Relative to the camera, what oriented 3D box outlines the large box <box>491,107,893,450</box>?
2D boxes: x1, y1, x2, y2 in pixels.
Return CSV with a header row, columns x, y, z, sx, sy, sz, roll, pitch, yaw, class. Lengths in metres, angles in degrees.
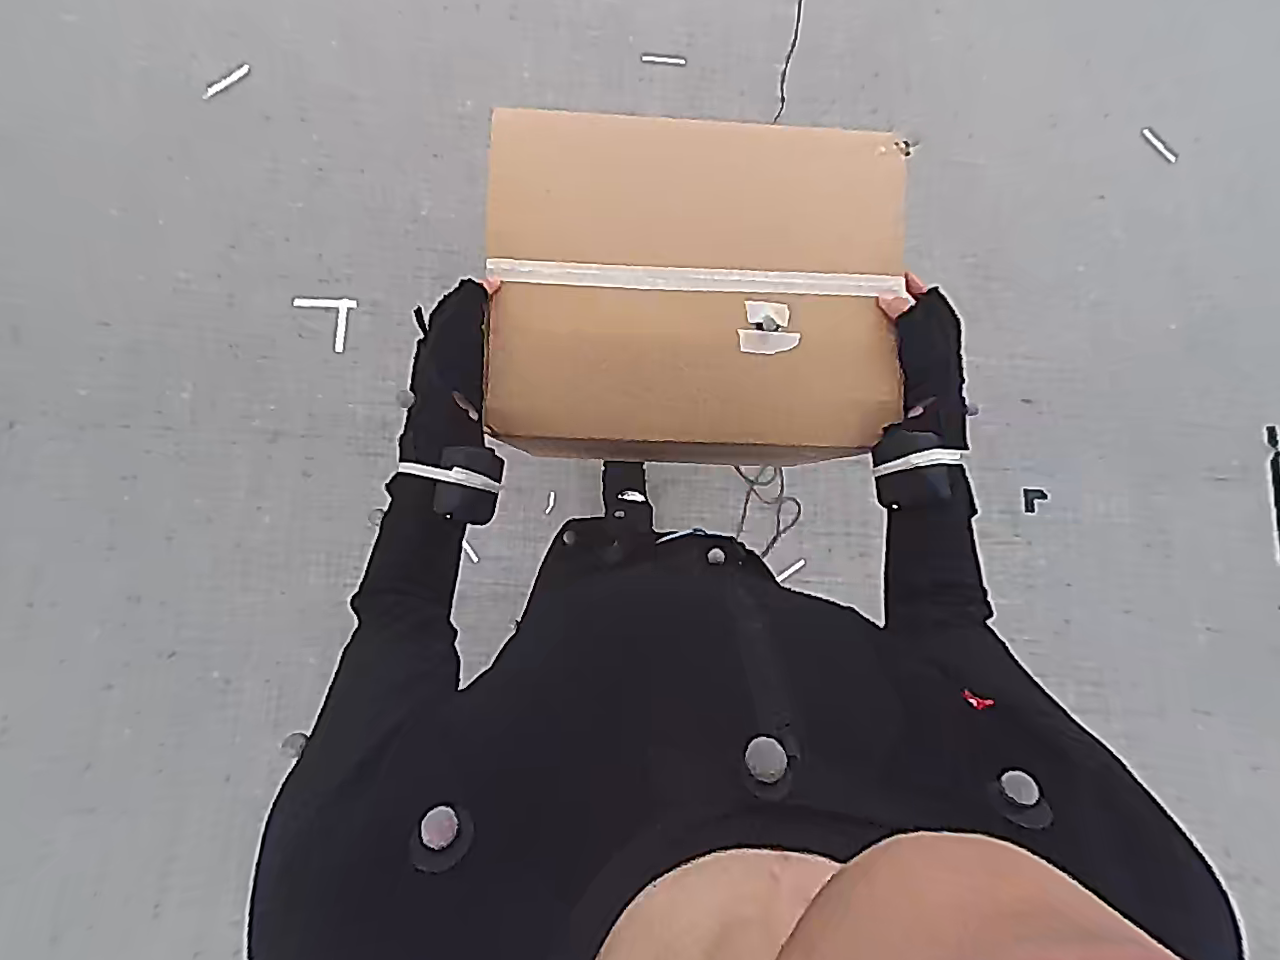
x,y,z,sx,sy,sz,roll,pitch,yaw,class
0.046,-0.206,0.684,0.408,0.320,0.320,2,90,-3,large box
